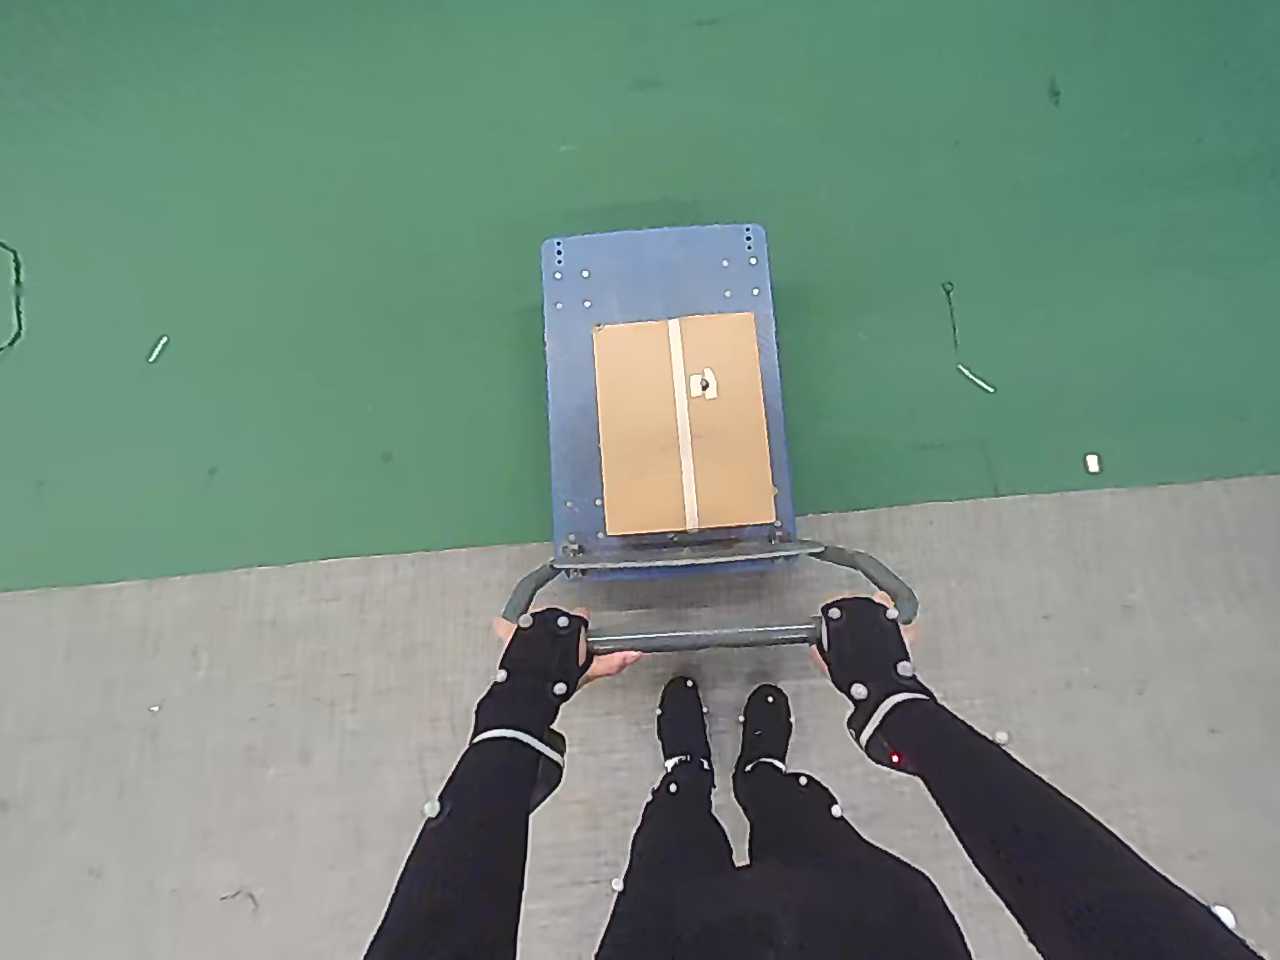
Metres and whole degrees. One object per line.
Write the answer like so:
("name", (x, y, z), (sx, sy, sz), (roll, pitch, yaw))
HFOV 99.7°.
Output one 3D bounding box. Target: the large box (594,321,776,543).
("large box", (0.087, -0.078, 1.163), (0.320, 0.320, 0.408), (-5, 83, 1))
